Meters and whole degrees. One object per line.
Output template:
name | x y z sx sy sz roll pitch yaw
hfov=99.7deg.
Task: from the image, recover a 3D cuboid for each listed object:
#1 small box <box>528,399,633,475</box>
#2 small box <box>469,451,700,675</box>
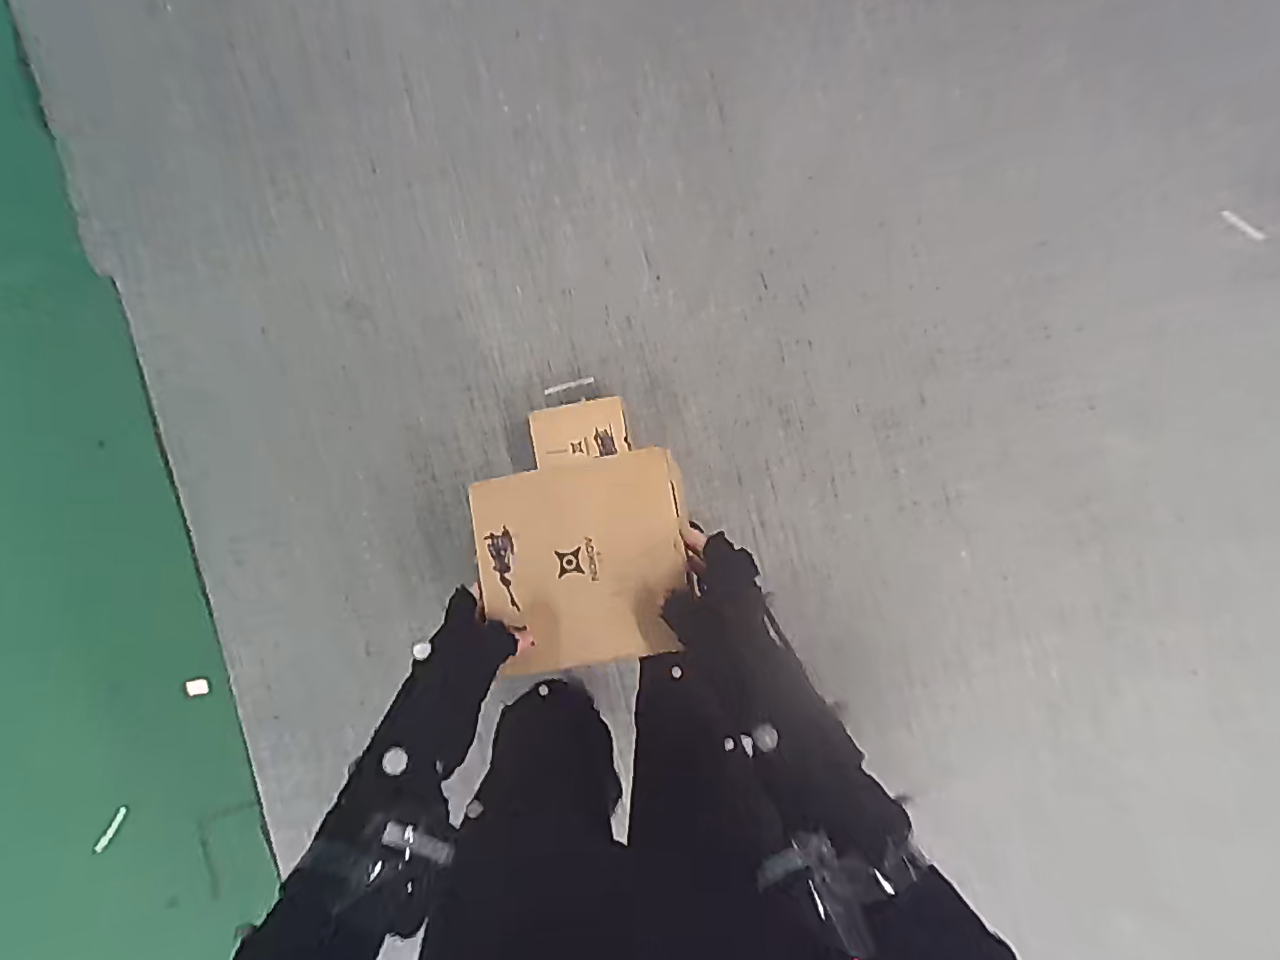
small box | -0.105 -0.059 1.067 0.179 0.176 0.168 -10 91 3
small box | -0.041 0.075 0.539 0.179 0.176 0.168 -13 84 7
